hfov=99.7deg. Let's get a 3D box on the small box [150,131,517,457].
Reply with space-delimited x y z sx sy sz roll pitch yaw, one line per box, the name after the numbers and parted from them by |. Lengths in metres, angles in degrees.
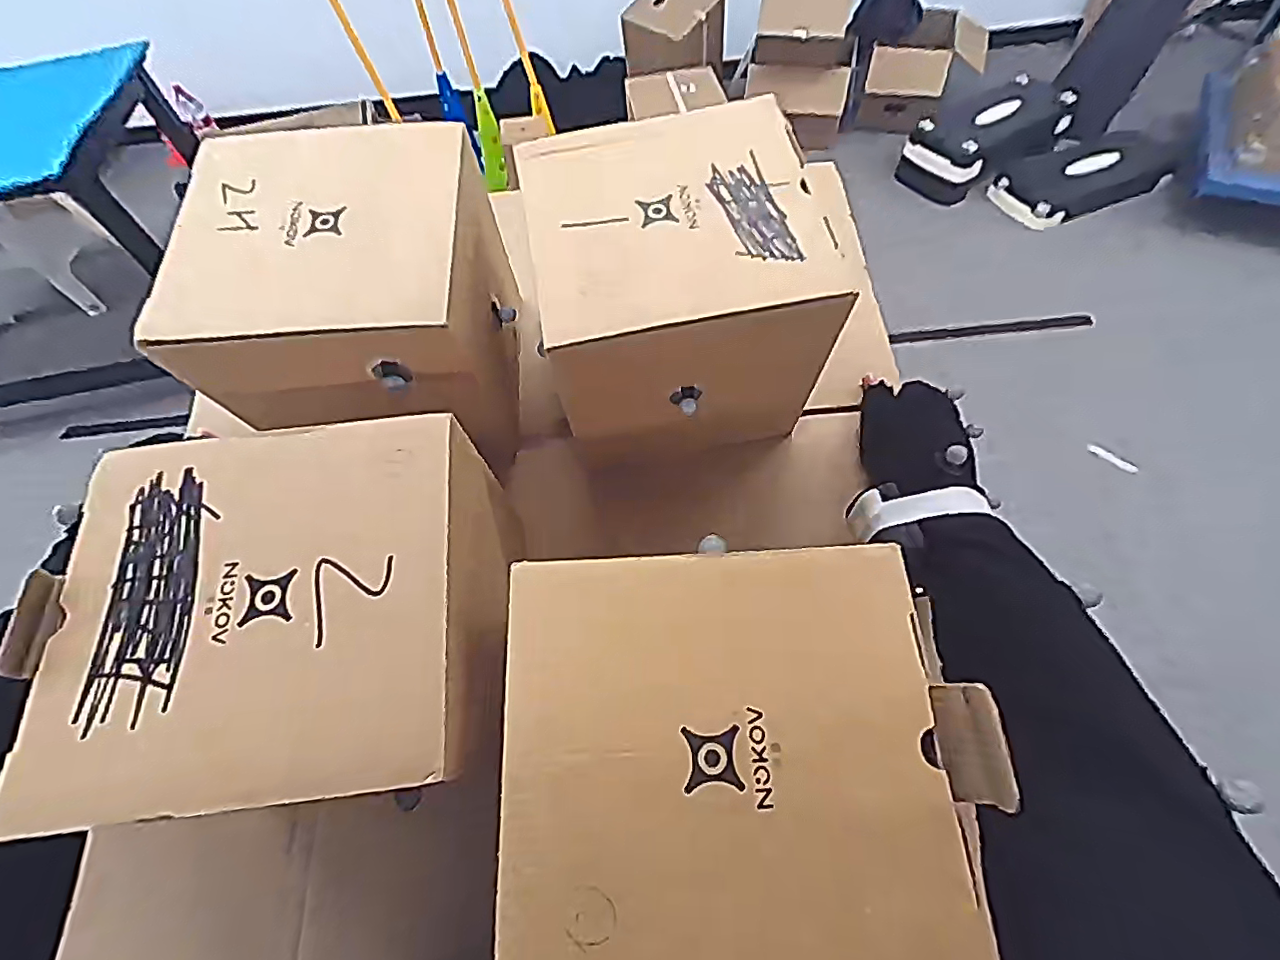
-0.198 -0.127 0.414 0.179 0.176 0.168 -4 68 1 | small box
